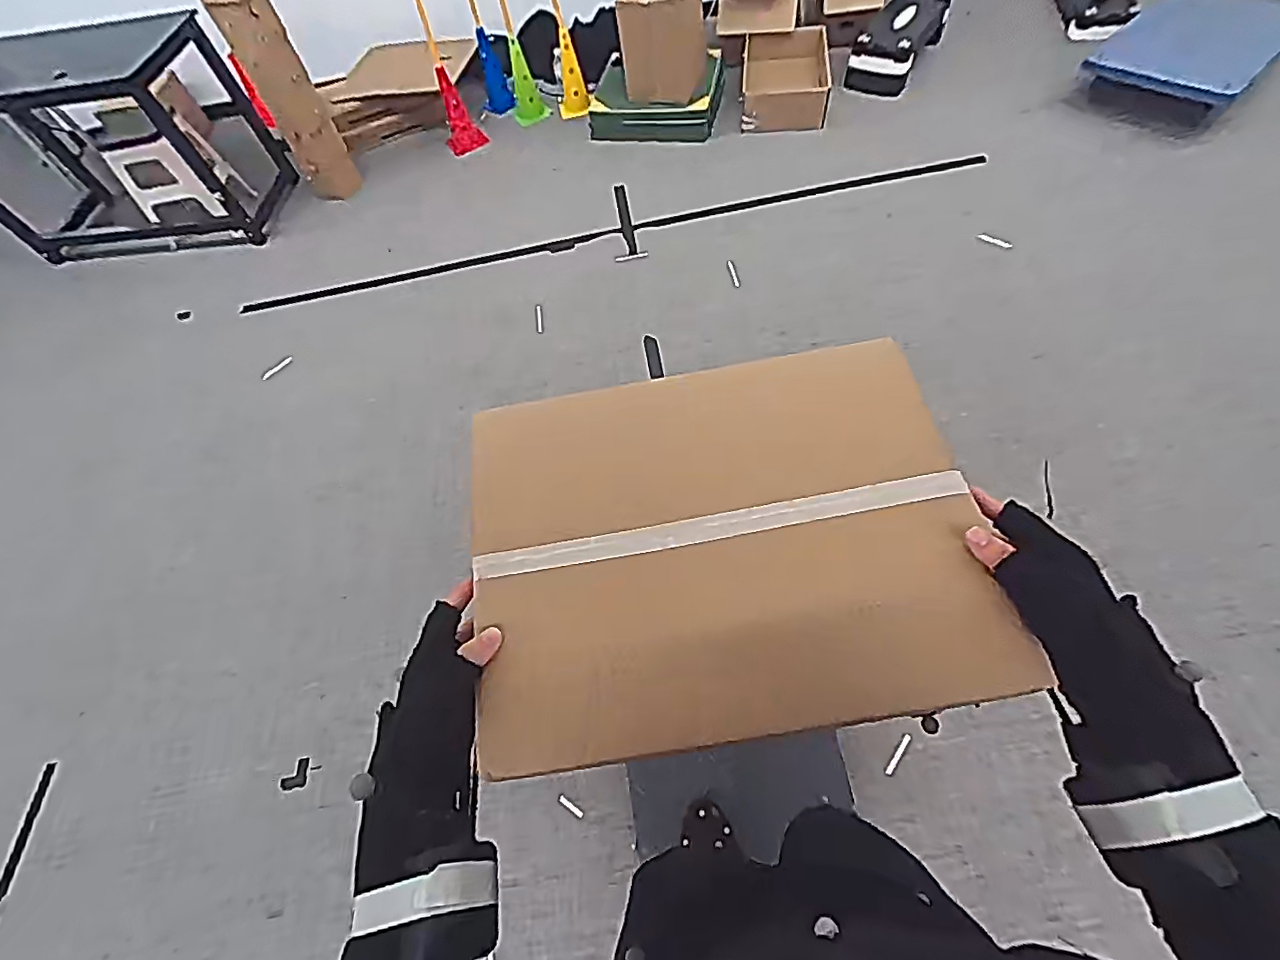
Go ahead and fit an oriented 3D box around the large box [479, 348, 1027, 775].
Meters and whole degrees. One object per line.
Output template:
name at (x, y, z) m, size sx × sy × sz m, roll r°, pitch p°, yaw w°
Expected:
large box at (0.077, 0.105, 0.586) m, size 0.408 × 0.320 × 0.320 m, roll -10°, pitch 63°, yaw 1°
